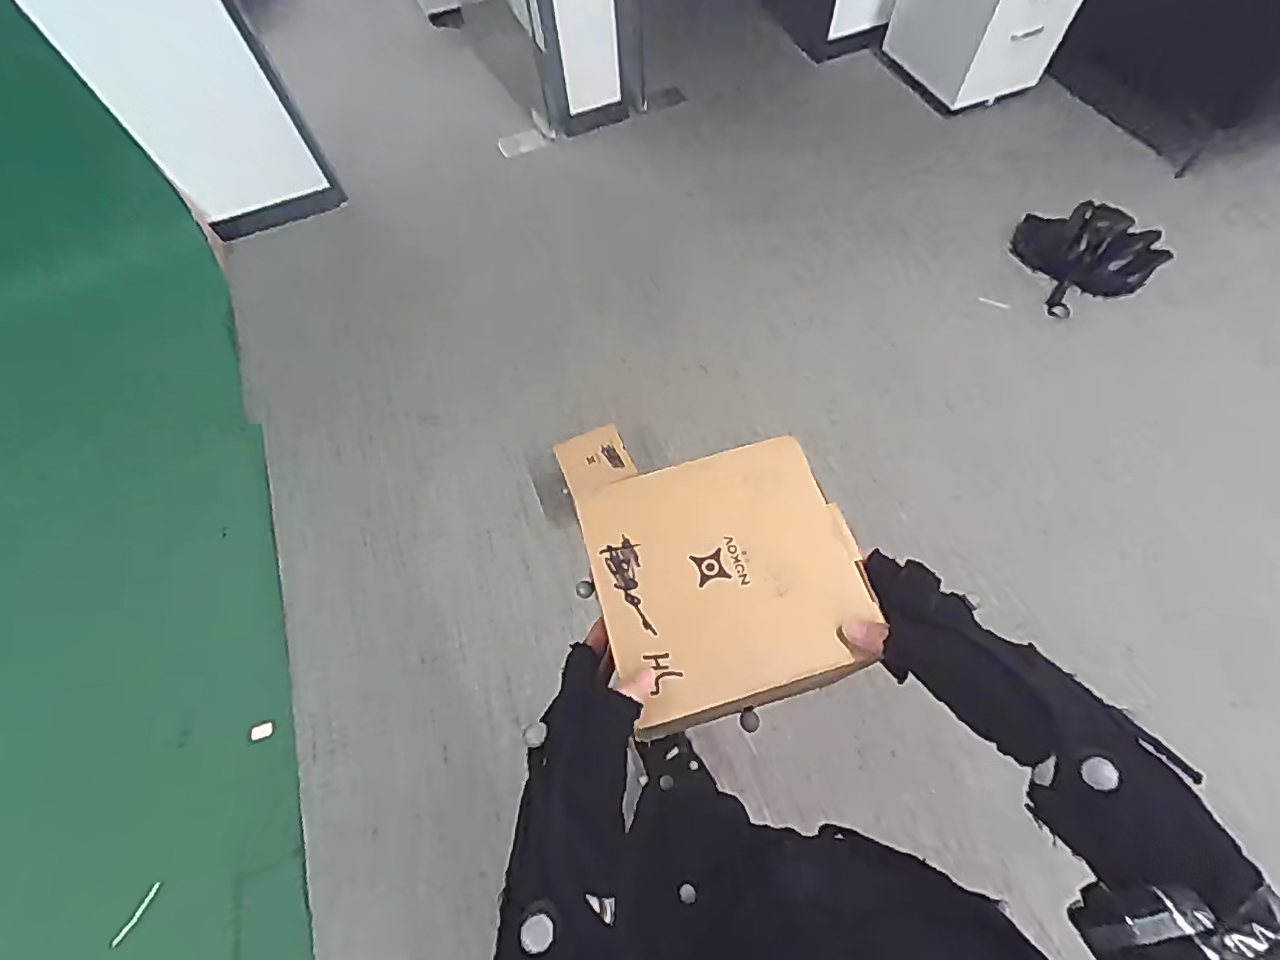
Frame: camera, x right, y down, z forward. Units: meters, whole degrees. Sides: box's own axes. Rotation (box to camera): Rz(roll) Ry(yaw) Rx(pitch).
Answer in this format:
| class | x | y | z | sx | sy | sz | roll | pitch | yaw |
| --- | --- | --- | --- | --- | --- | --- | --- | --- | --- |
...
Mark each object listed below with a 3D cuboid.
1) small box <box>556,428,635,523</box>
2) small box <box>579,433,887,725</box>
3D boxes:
| class | x | y | z | sx | sy | sz | roll | pitch | yaw |
| --- | --- | --- | --- | --- | --- | --- | --- | --- | --- |
| small box | -0.106 | -0.006 | 1.450 | 0.179 | 0.176 | 0.168 | -22 | 64 | -7 |
| small box | 0.058 | 0.089 | 0.443 | 0.179 | 0.176 | 0.168 | -14 | 62 | -5 |
